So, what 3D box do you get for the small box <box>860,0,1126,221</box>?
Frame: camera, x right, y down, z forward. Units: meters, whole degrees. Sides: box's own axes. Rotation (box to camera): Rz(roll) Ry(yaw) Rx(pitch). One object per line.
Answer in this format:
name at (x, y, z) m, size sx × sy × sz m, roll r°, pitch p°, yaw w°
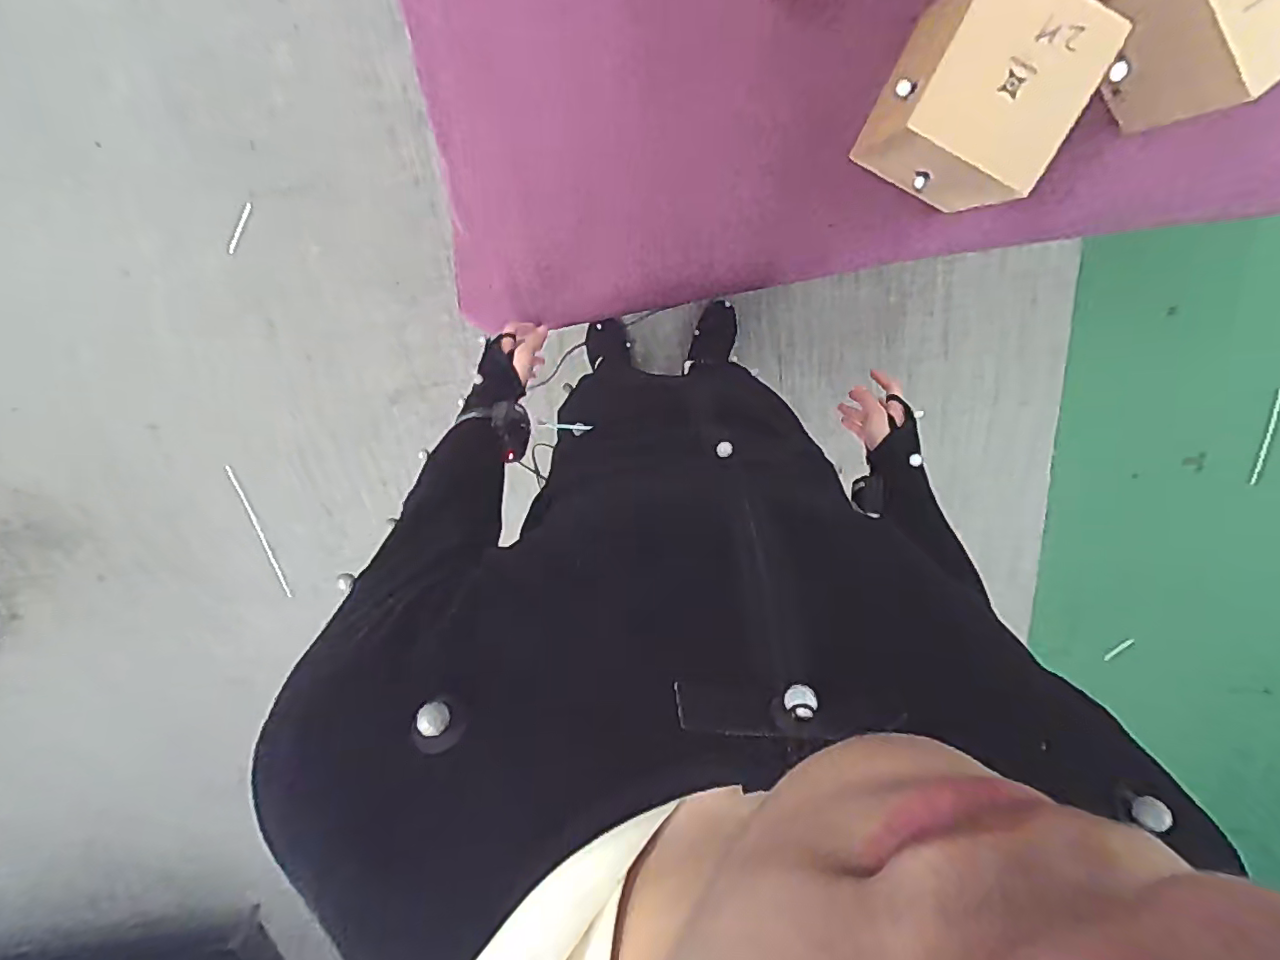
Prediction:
small box at (0.392, -0.434, 0.645) m, size 0.168 × 0.176 × 0.179 m, roll 24°, pitch 107°, yaw -10°
